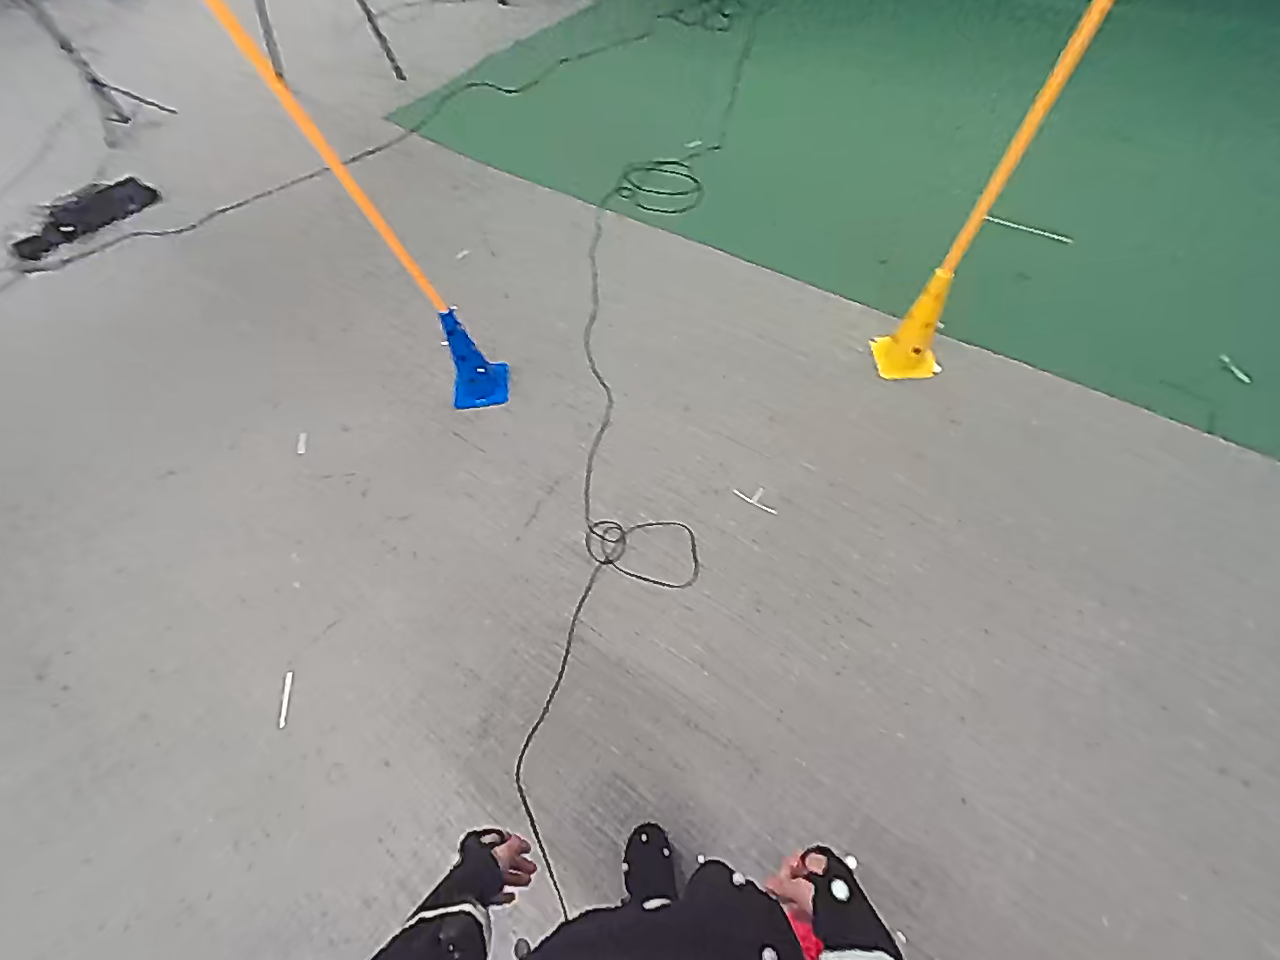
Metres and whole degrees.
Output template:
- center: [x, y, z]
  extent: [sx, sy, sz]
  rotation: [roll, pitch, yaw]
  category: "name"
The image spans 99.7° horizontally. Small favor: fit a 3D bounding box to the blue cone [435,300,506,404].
- center: [-0.594, -0.440, 1.814]
  extent: [0.193, 0.380, 0.192]
  rotation: [-10, 59, 1]
  category: "blue cone"
